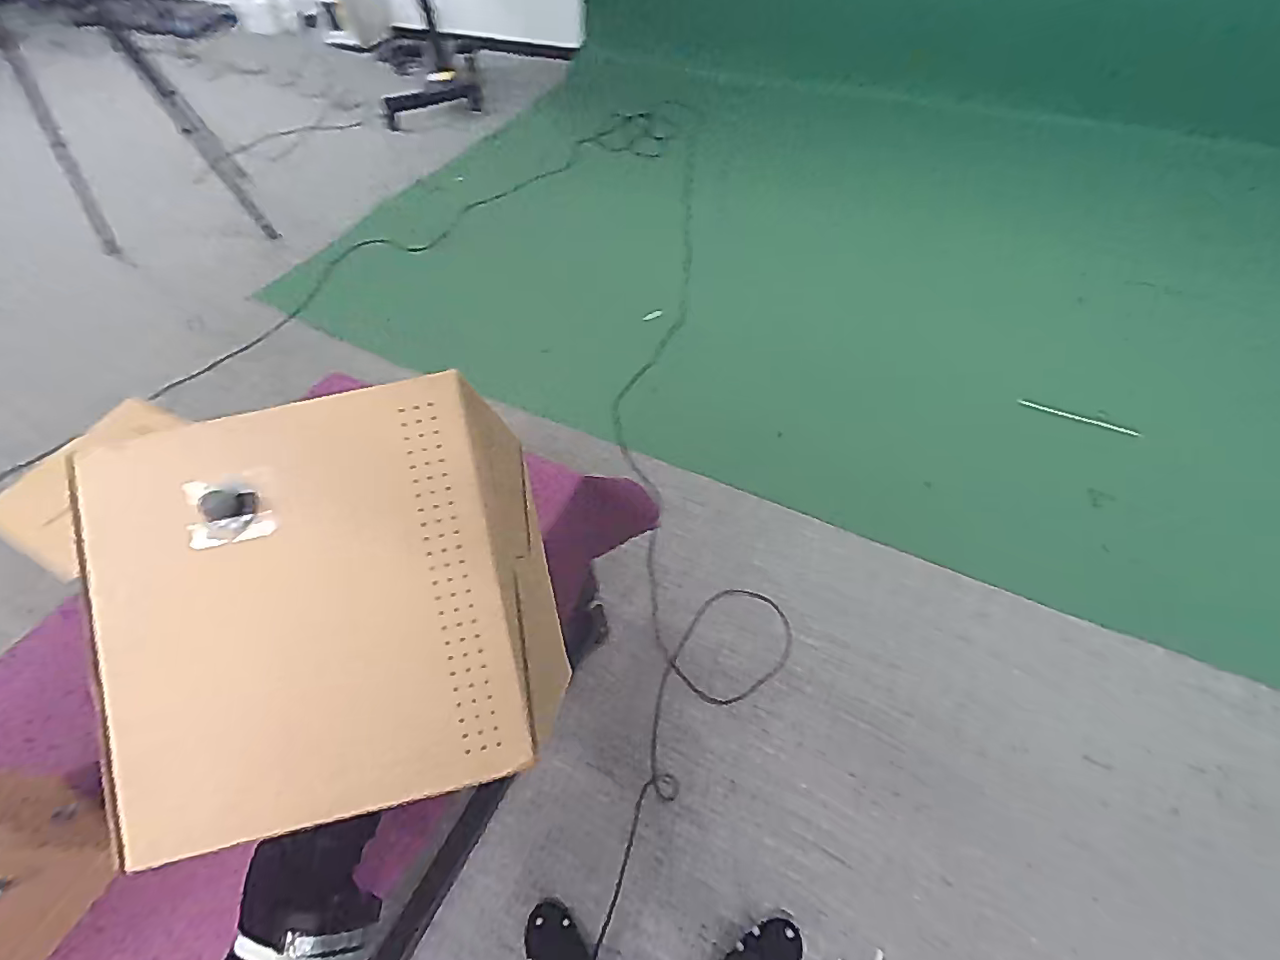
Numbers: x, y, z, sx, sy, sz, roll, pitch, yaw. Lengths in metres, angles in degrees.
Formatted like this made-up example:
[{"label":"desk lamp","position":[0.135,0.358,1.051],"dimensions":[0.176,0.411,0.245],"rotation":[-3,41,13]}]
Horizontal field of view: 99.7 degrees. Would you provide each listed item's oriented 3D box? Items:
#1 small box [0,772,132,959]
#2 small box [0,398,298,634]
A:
[{"label":"small box","position":[-0.709,0.427,0.560],"dimensions":[0.168,0.176,0.179],"rotation":[20,57,17]},{"label":"small box","position":[-0.535,0.044,0.617],"dimensions":[0.168,0.176,0.179],"rotation":[21,59,17]}]
